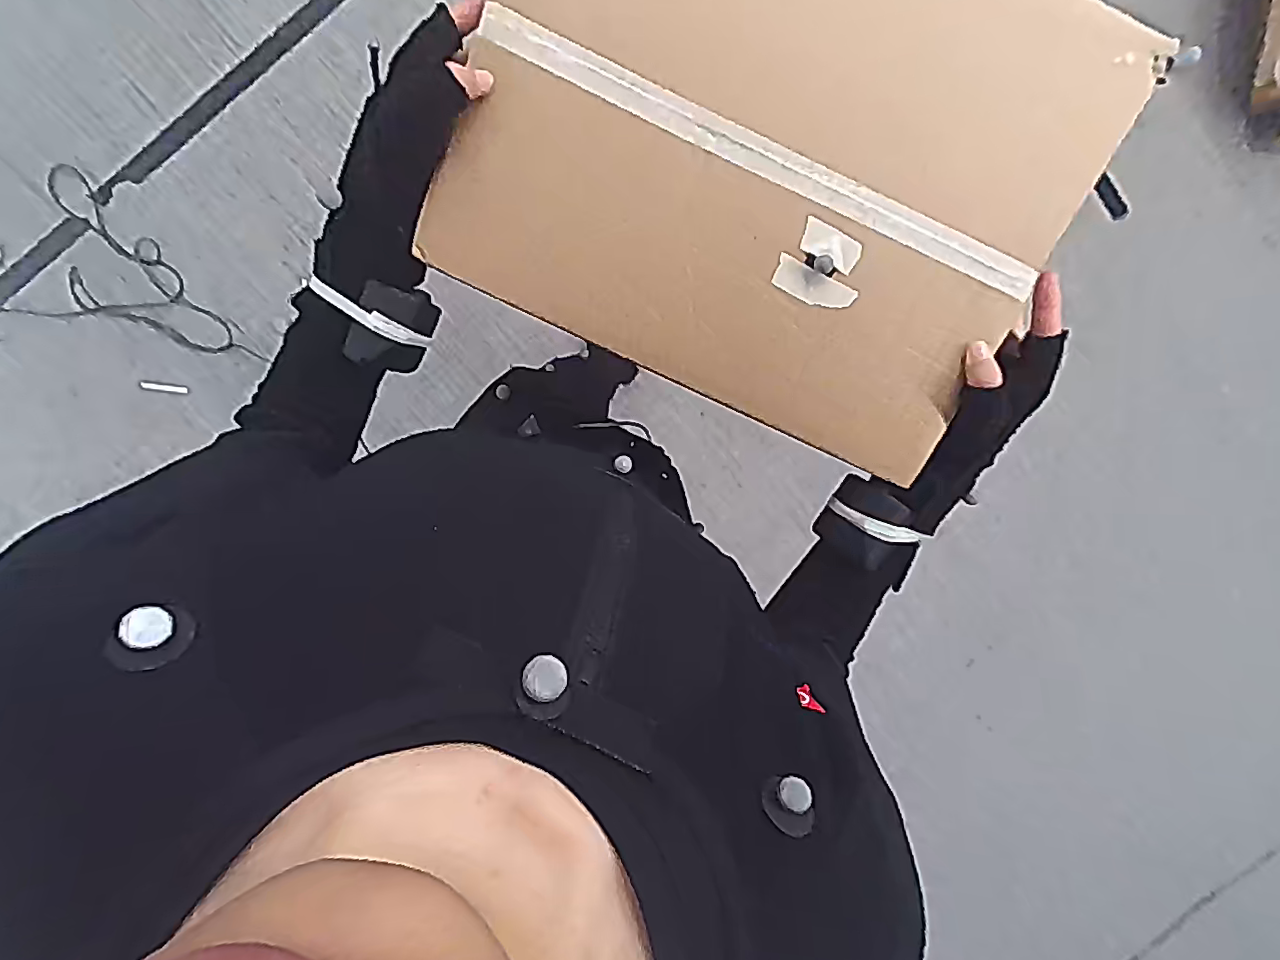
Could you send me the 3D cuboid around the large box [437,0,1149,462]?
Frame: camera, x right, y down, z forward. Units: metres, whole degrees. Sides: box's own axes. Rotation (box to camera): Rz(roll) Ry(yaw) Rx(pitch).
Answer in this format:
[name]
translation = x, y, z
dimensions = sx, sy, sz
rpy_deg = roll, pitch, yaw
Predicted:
[large box]
translation = 0.094, -0.262, 0.517
dimensions = 0.408, 0.320, 0.320
rpy_deg = 25, 106, -4
